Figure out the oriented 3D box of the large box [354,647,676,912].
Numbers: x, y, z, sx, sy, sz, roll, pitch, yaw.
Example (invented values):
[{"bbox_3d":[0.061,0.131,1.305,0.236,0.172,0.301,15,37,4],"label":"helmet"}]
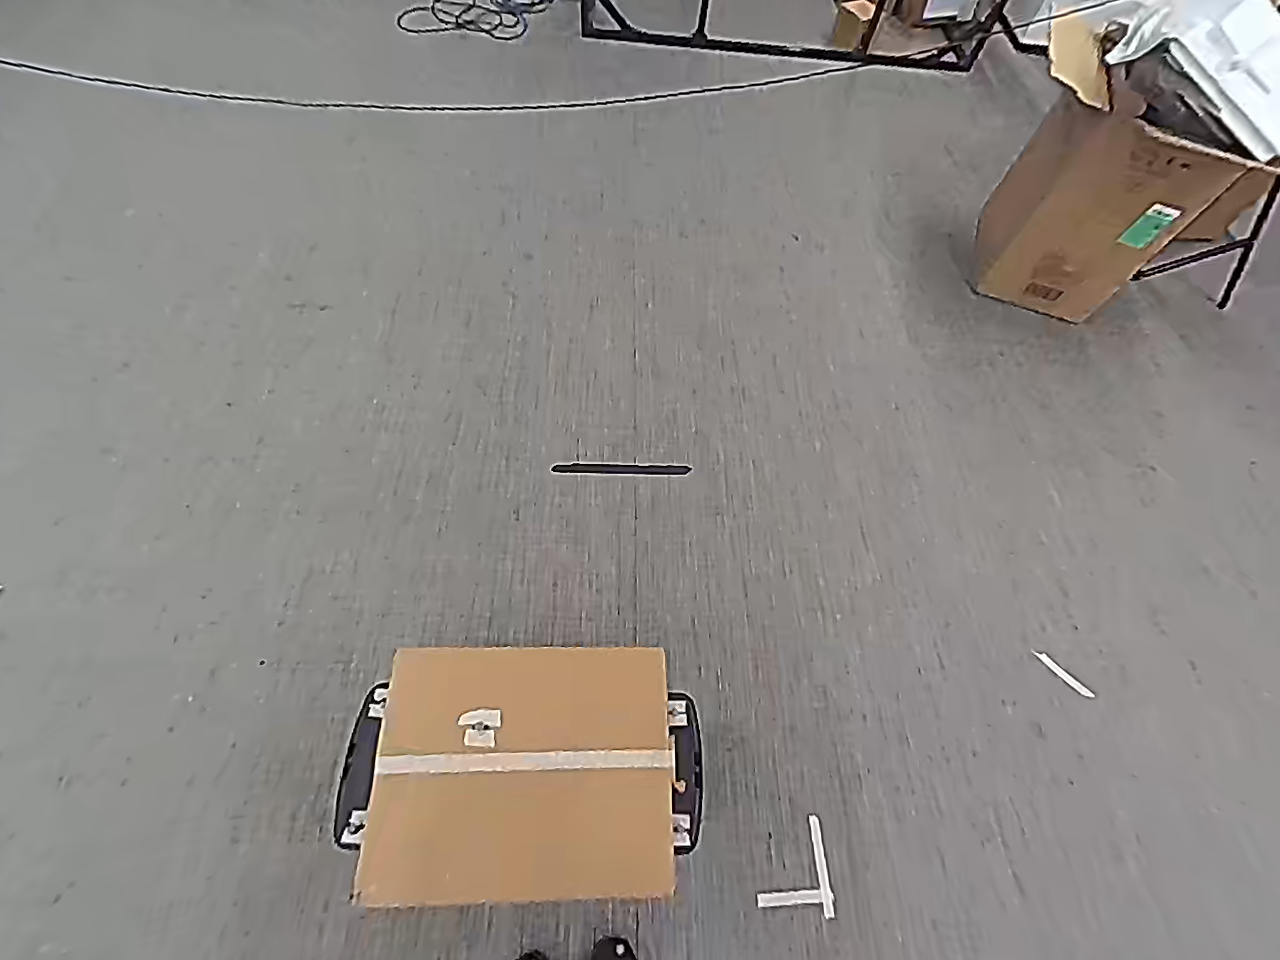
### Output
[{"bbox_3d":[-0.163,0.459,0.870,0.408,0.320,0.320,1,61,-3],"label":"large box"}]
